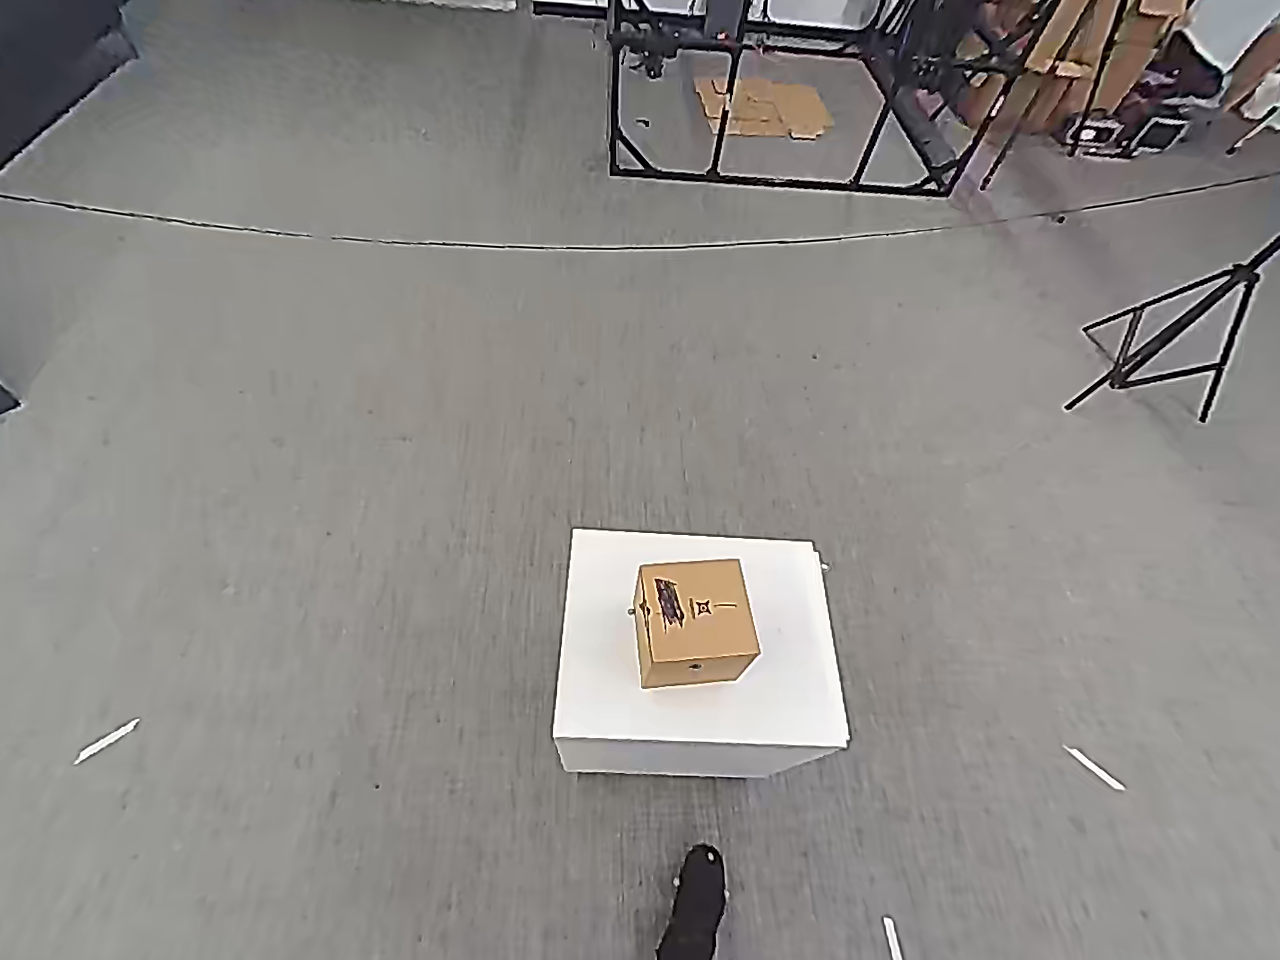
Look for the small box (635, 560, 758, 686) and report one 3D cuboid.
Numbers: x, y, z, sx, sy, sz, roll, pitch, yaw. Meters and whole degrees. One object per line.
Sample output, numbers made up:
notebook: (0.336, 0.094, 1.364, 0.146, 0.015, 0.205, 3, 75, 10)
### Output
small box: (0.086, 0.253, 0.944, 0.179, 0.176, 0.168, -2, 57, -8)
